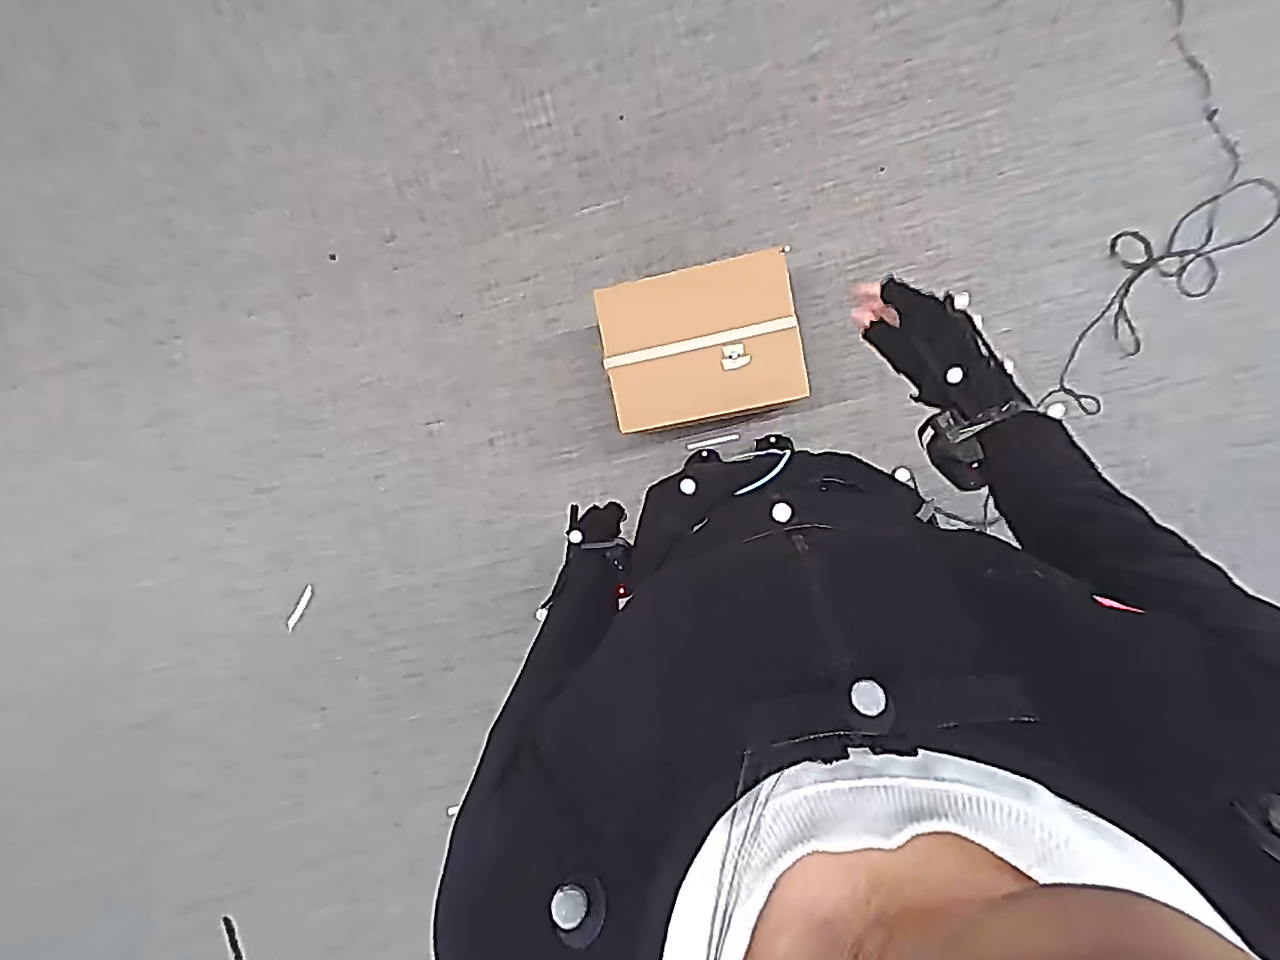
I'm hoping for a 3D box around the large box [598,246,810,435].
[{"bbox_3d":[0.146,-0.300,1.283,0.408,0.320,0.320,-11,93,7],"label":"large box"}]
